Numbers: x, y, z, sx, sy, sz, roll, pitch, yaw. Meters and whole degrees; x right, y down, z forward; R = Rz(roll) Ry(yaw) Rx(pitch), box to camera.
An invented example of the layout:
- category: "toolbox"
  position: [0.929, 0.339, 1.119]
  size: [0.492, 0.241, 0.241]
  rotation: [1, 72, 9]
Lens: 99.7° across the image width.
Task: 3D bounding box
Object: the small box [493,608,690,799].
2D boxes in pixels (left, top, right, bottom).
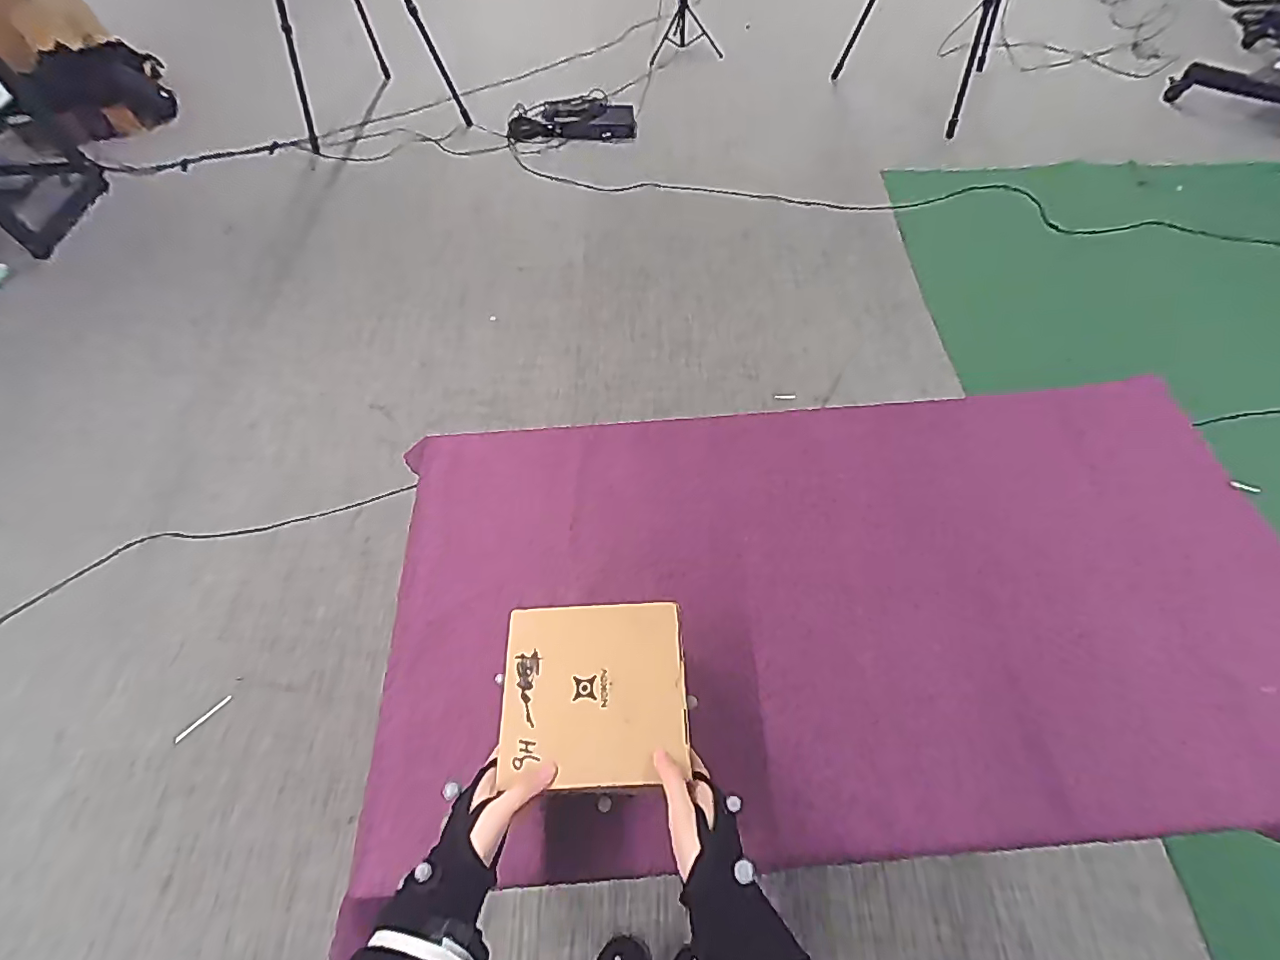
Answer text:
- category: "small box"
  position: [-0.043, 0.244, 0.583]
  size: [0.179, 0.176, 0.168]
  rotation: [-2, 57, 0]
